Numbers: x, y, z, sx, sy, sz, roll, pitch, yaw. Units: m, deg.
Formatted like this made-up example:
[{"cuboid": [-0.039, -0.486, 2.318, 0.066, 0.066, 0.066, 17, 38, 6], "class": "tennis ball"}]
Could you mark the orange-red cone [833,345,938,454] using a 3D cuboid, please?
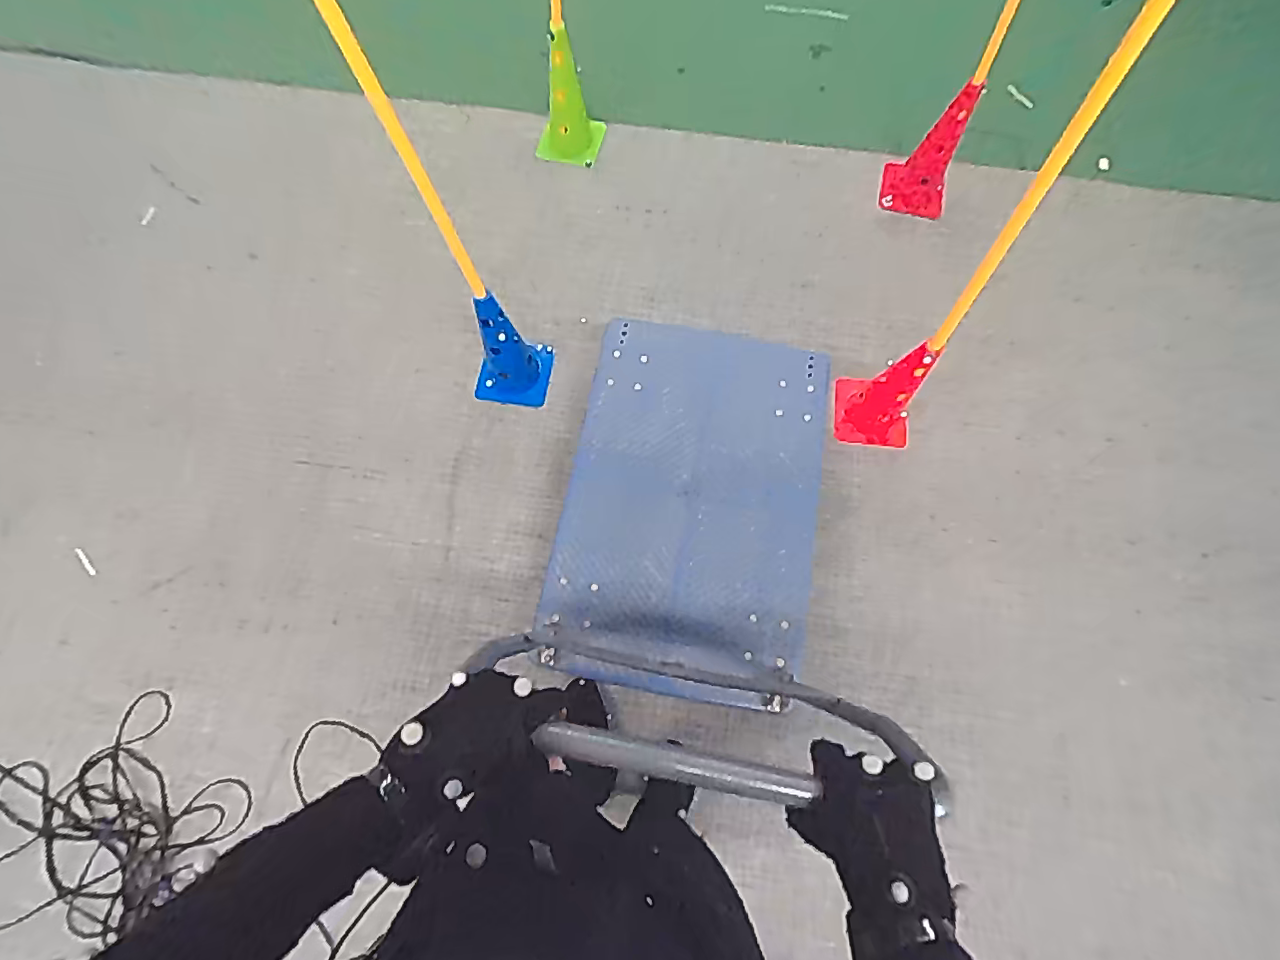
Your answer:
[{"cuboid": [0.643, -0.226, 1.366, 0.199, 0.360, 0.198, 7, 72, 4], "class": "orange-red cone"}]

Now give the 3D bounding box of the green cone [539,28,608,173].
[{"cuboid": [-0.222, -1.177, 1.660, 0.202, 0.368, 0.200, 13, 72, 4], "class": "green cone"}]
